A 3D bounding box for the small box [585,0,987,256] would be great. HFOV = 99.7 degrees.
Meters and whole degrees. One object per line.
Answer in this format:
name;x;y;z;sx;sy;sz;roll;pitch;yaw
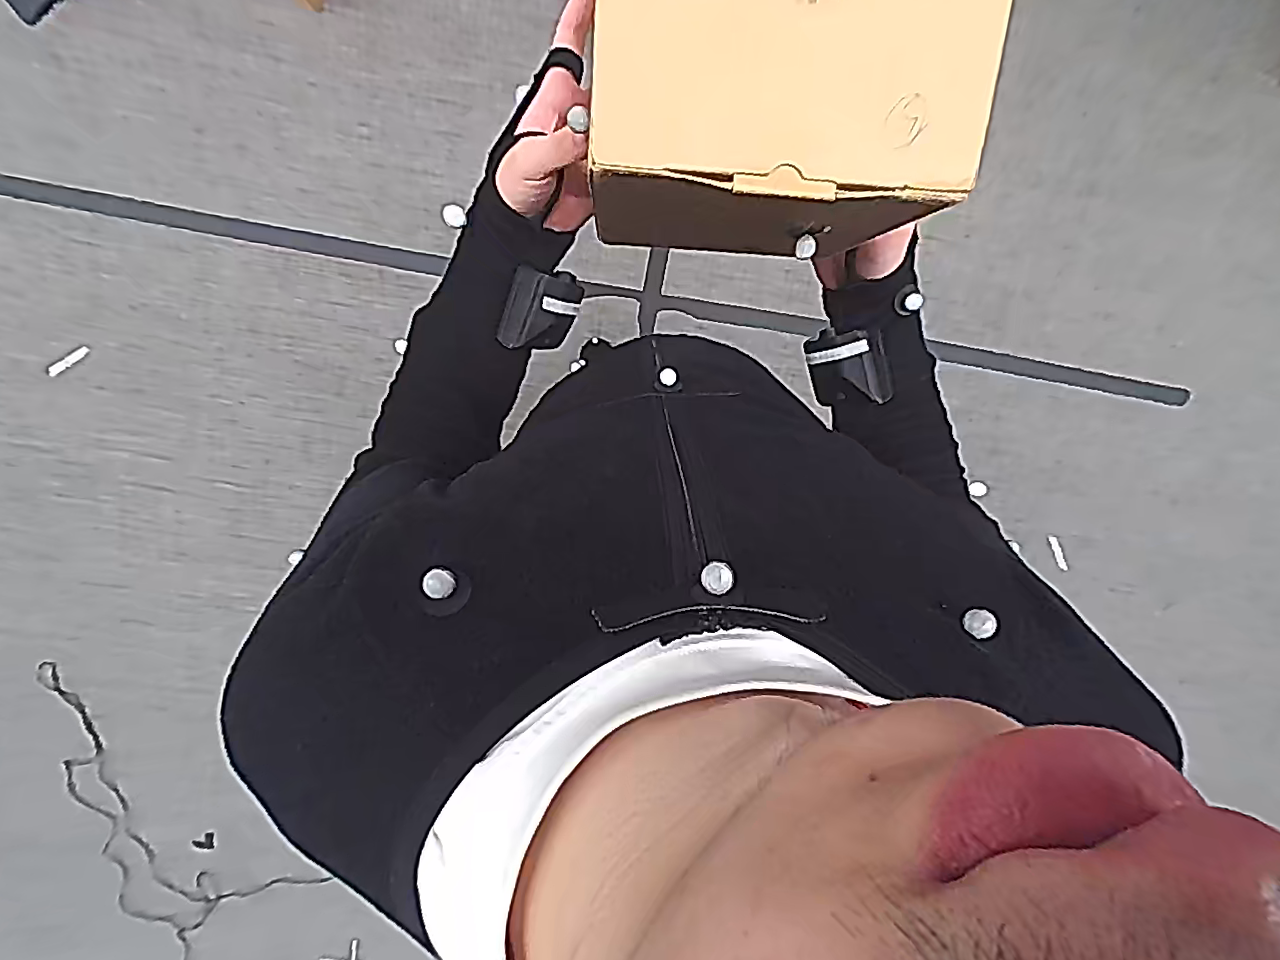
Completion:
small box;0.059;-0.230;0.296;0.168;0.176;0.179;3;103;-4
